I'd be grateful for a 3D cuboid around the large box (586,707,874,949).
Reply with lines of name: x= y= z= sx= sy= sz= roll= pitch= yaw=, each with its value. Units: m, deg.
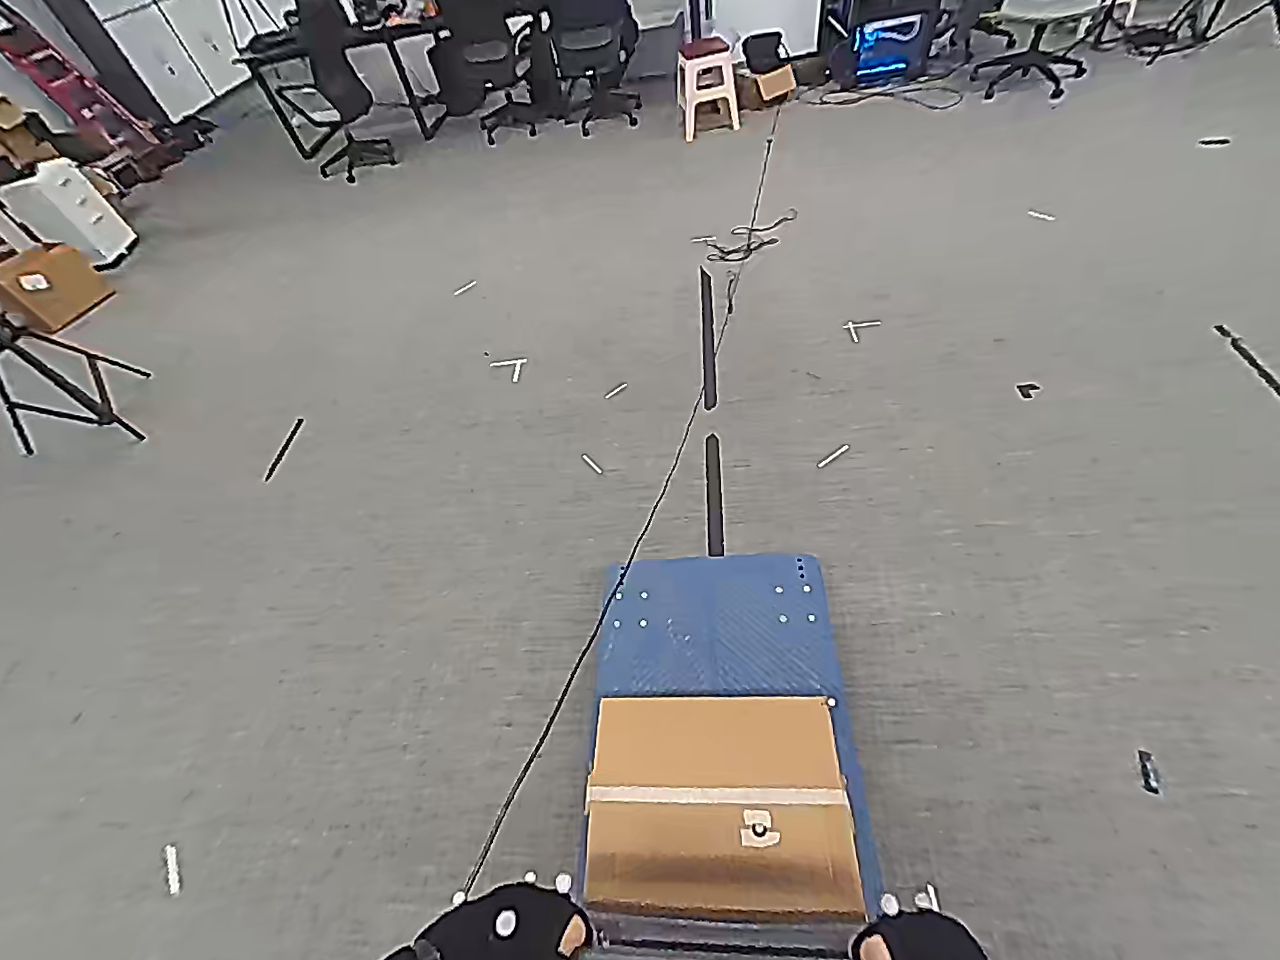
large box: x=0.141 y=0.612 z=0.950 sx=0.408 sy=0.320 sz=0.320 roll=-3 pitch=49 yaw=8
